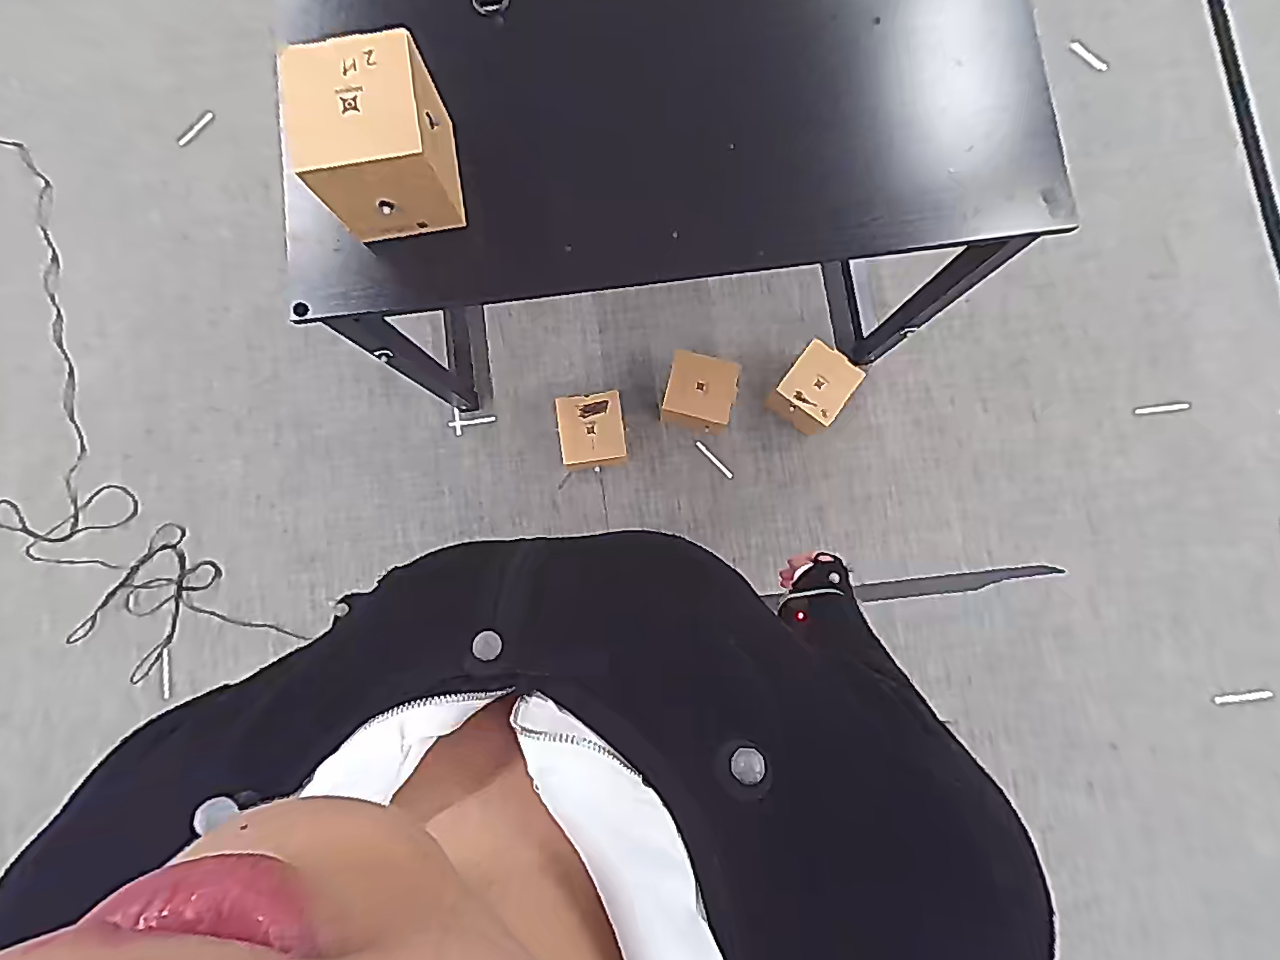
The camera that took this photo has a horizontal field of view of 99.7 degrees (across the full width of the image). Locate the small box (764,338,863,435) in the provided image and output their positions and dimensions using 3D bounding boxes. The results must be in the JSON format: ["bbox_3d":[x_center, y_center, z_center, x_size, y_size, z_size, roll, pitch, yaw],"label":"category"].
[{"bbox_3d":[0.460,-0.245,1.464,0.168,0.176,0.179,36,86,4],"label":"small box"}]

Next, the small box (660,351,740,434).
[{"bbox_3d":[0.157,-0.230,1.469,0.179,0.176,0.168,14,84,3],"label":"small box"}]

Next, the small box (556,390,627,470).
[{"bbox_3d":[-0.127,-0.130,1.462,0.168,0.176,0.179,-8,86,0],"label":"small box"}]

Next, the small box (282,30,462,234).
[{"bbox_3d":[-0.363,-0.470,0.762,0.168,0.176,0.179,-9,84,-1],"label":"small box"}]
